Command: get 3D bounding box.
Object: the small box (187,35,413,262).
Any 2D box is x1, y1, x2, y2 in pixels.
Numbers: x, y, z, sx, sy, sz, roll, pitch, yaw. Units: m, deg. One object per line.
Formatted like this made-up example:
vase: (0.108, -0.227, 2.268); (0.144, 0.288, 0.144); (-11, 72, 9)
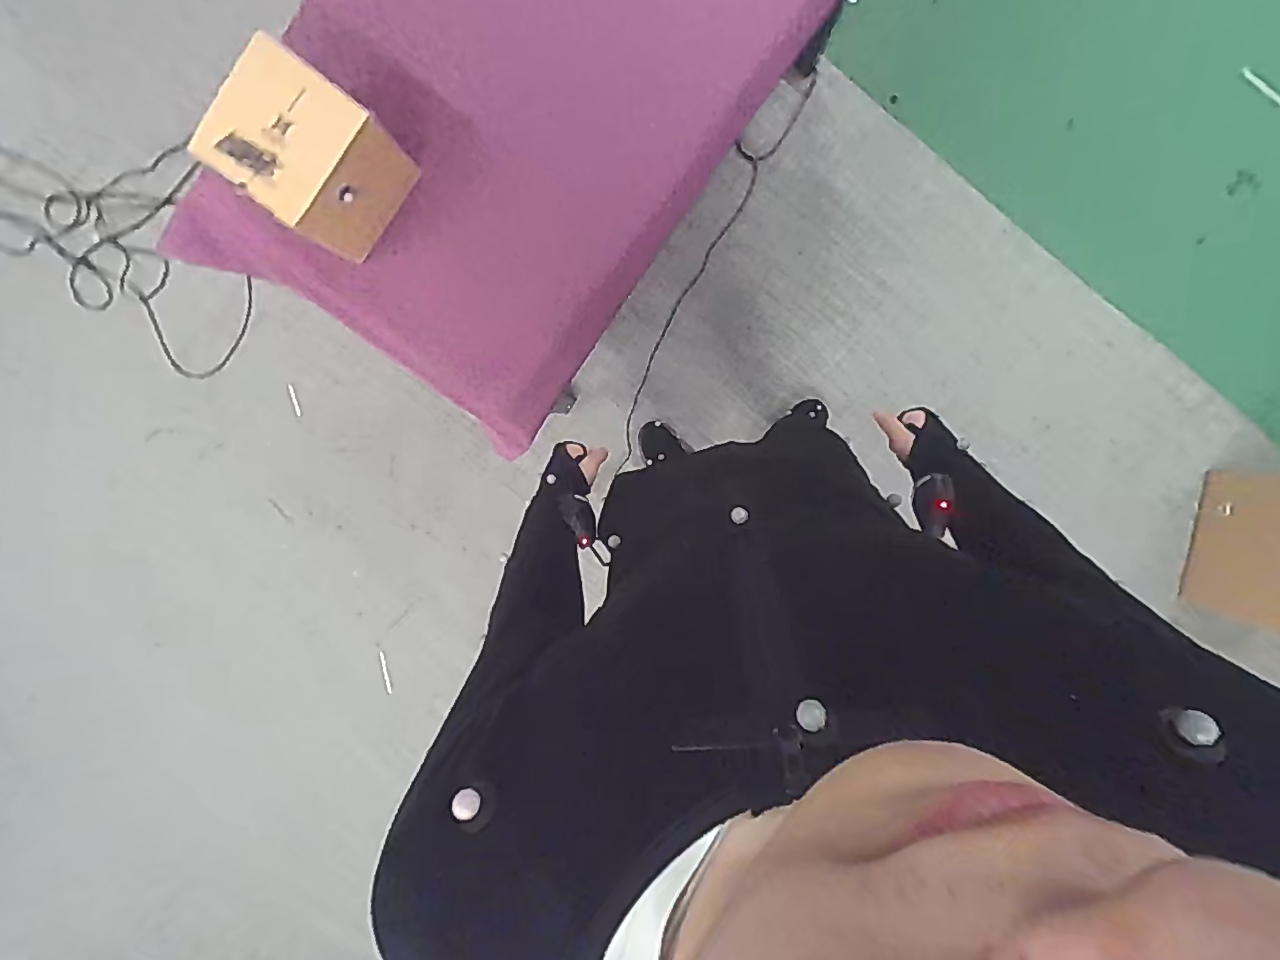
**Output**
small box: (-0.454, -0.438, 0.753); (0.168, 0.176, 0.179); (37, 96, -4)
